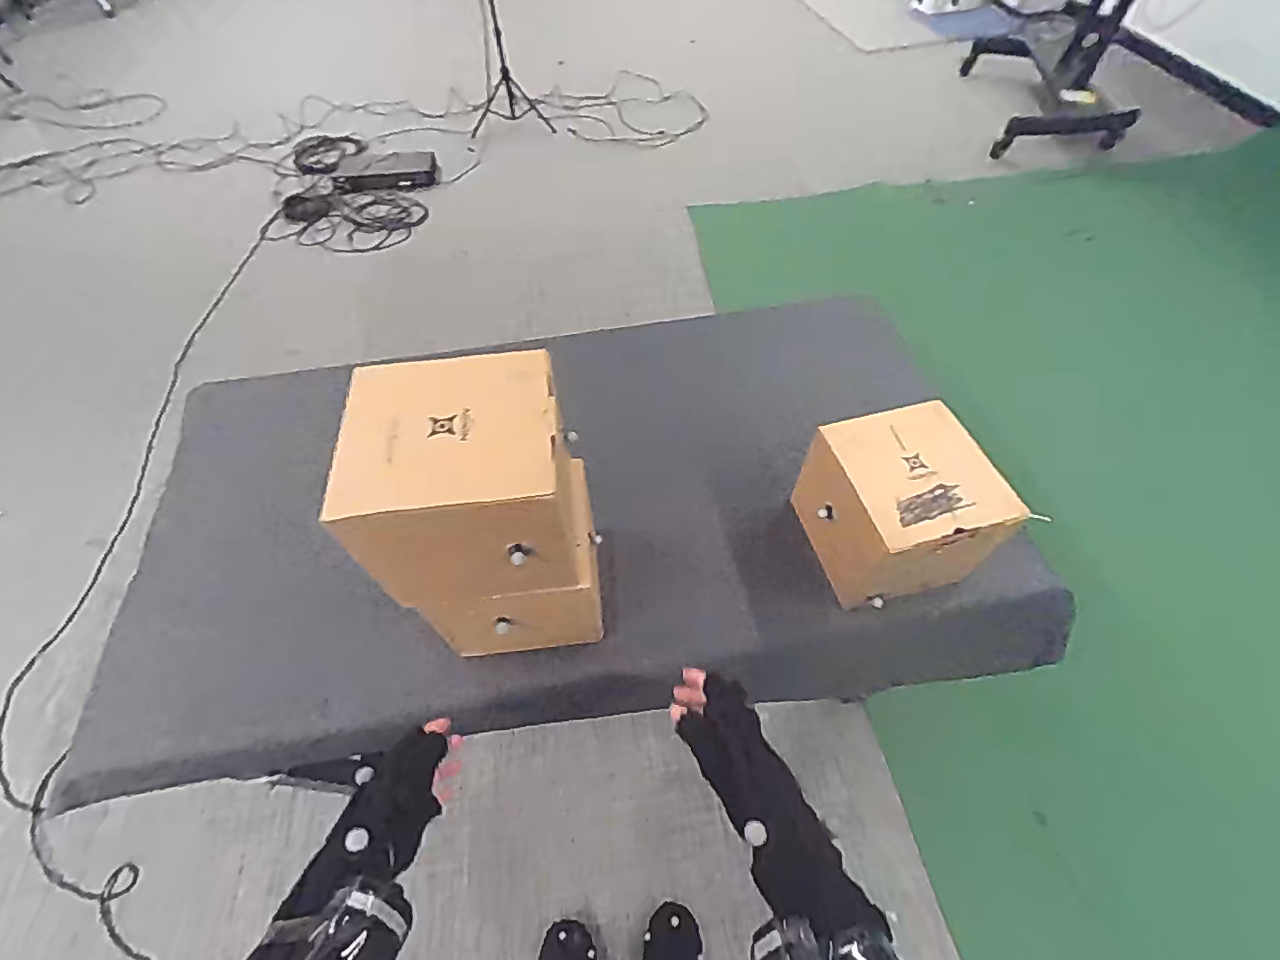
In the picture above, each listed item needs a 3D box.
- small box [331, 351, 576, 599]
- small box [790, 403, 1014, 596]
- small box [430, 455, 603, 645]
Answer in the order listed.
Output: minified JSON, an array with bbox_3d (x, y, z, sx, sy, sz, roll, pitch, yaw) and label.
[{"bbox_3d":[-0.157,0.000,0.523,0.179,0.176,0.168,-7,55,-3],"label":"small box"},{"bbox_3d":[0.311,0.033,0.687,0.168,0.176,0.179,-12,56,-7],"label":"small box"},{"bbox_3d":[-0.143,0.091,0.658,0.179,0.176,0.168,-6,56,-3],"label":"small box"}]
